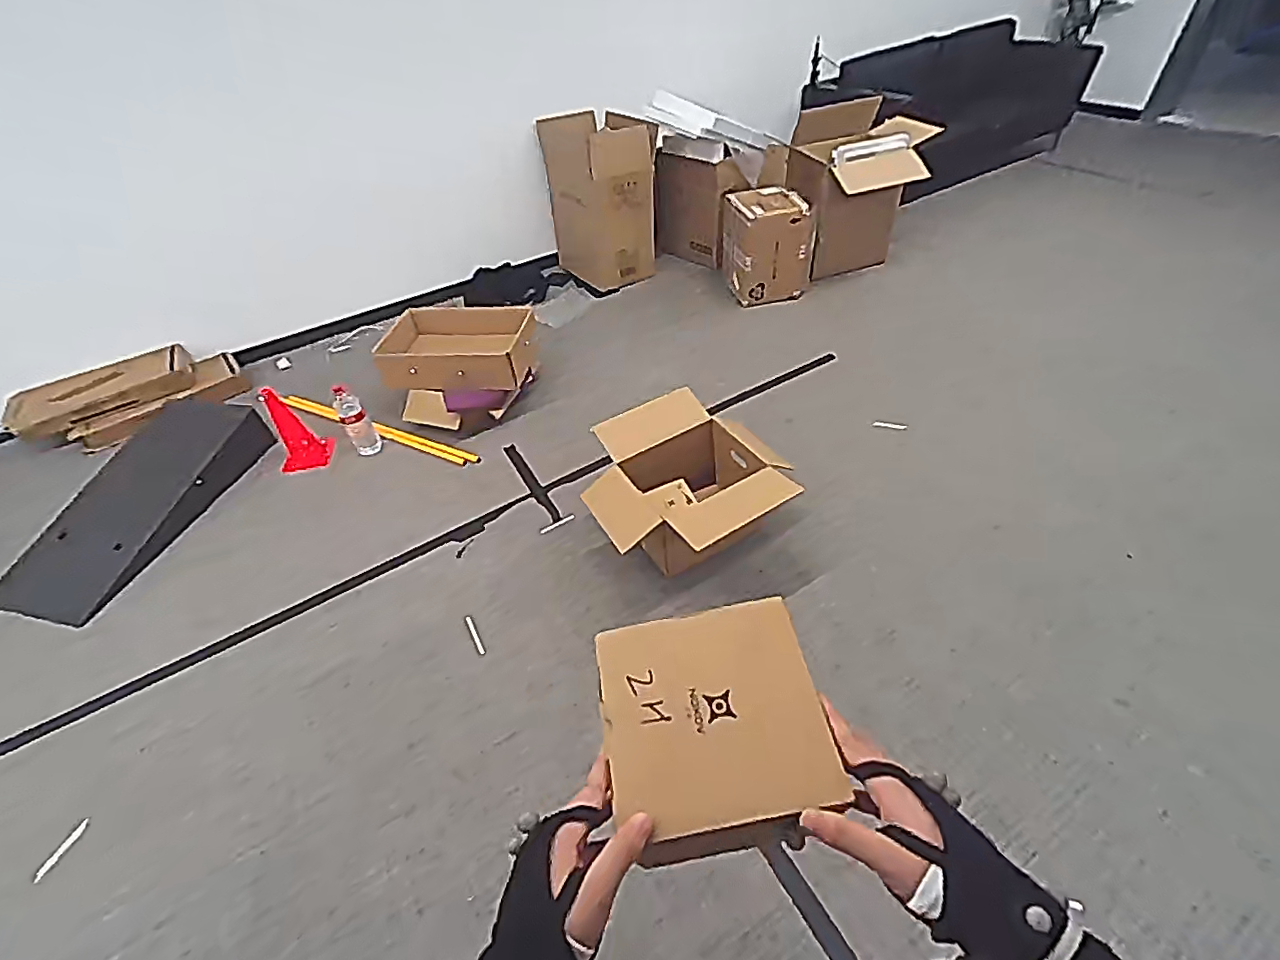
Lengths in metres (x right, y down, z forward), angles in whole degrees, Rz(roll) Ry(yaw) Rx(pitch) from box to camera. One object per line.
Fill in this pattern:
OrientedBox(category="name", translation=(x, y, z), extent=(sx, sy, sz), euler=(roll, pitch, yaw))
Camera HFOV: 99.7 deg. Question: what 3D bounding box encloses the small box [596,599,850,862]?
OrientedBox(category="small box", translation=(0.065, 0.234, 0.498), extent=(0.179, 0.176, 0.168), euler=(-12, 49, 1))
